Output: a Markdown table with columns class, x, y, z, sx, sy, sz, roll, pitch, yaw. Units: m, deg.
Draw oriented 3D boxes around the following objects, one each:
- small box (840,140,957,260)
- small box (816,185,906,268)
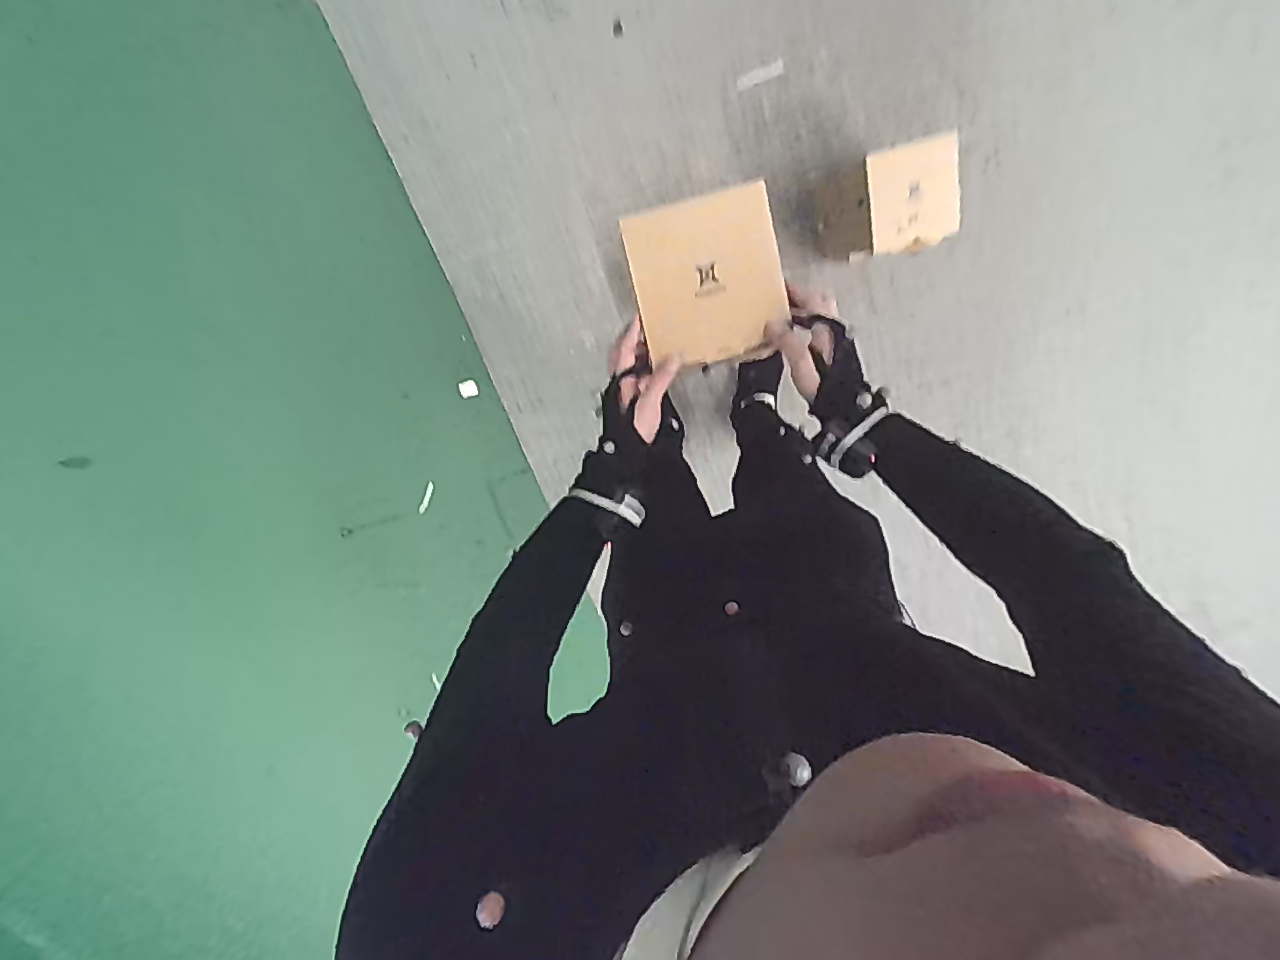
| class | x | y | z | sx | sy | sz | roll | pitch | yaw |
| --- | --- | --- | --- | --- | --- | --- | --- | --- | --- |
| small box | 0.521 | -0.561 | 1.105 | 0.168 | 0.176 | 0.179 | -11 | 110 | 6 |
| small box | 0.527 | -0.610 | 1.262 | 0.168 | 0.176 | 0.179 | -16 | 110 | 7 |
